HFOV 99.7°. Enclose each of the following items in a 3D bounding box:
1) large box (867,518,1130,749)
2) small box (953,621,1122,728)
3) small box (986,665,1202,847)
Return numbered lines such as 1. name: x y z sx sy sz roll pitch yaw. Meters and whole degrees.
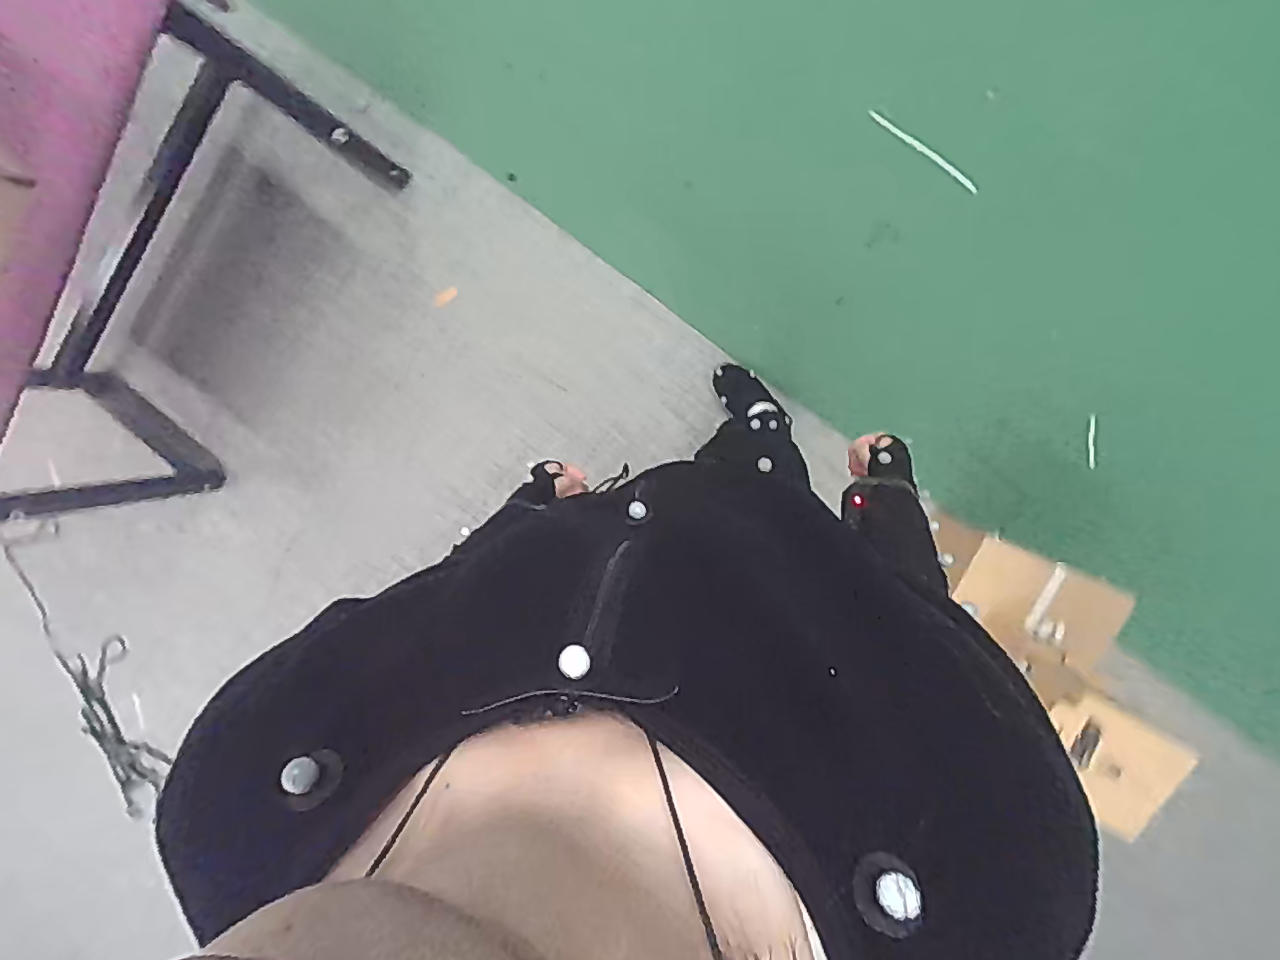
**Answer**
1. large box: 0.795 0.349 1.272 0.320 0.320 0.408 24 99 6
2. small box: 0.743 0.401 1.037 0.168 0.176 0.179 28 101 7
3. small box: 0.712 0.429 0.878 0.179 0.176 0.168 30 100 7
